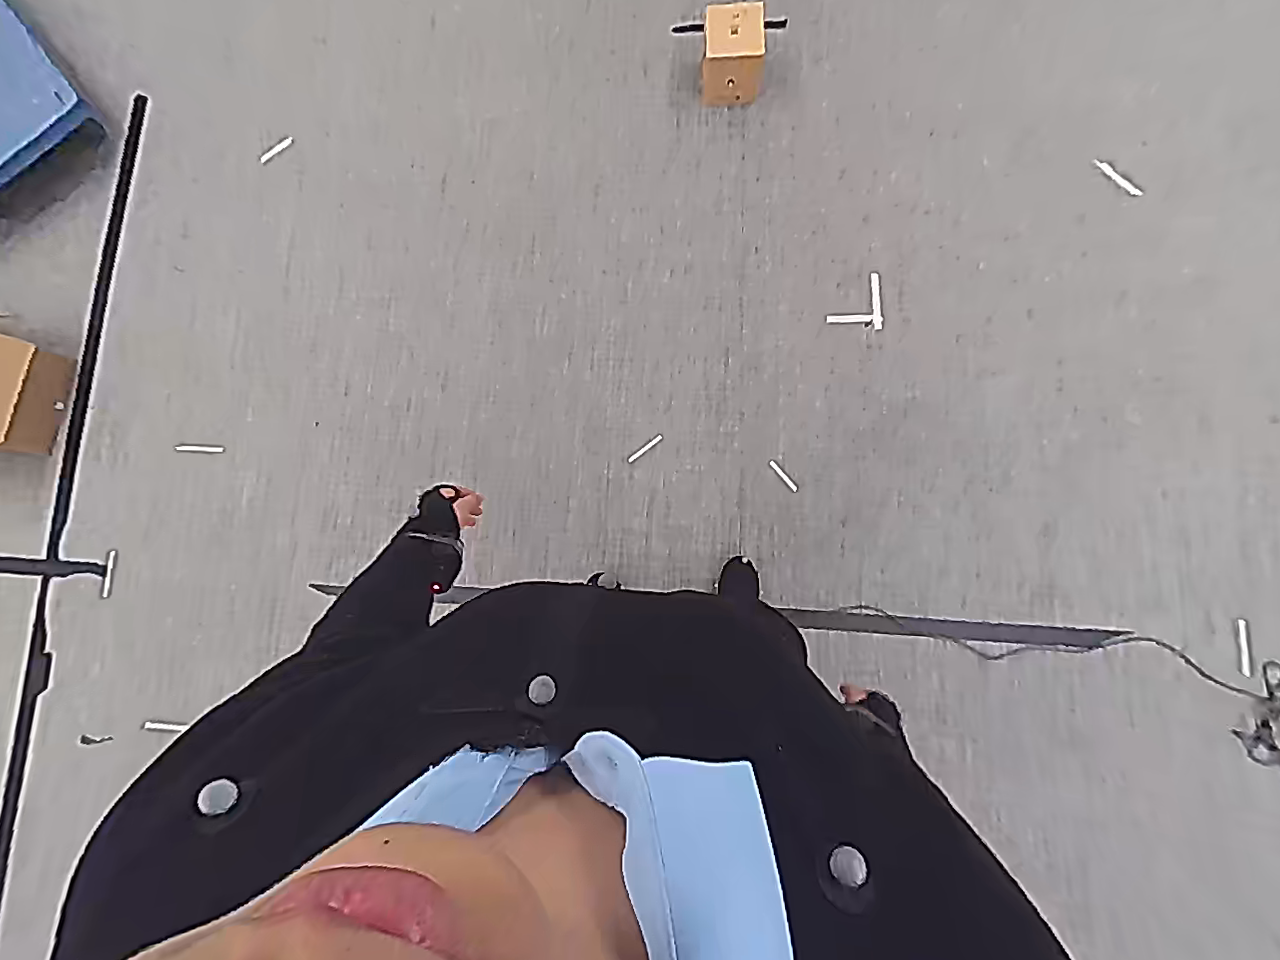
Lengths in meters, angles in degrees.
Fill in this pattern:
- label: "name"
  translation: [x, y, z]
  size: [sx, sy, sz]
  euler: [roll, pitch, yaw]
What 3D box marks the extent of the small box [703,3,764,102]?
- label: "small box"
  translation: [0.277, -1.271, 1.621]
  size: [0.168, 0.176, 0.179]
  euler: [0, 81, 4]
